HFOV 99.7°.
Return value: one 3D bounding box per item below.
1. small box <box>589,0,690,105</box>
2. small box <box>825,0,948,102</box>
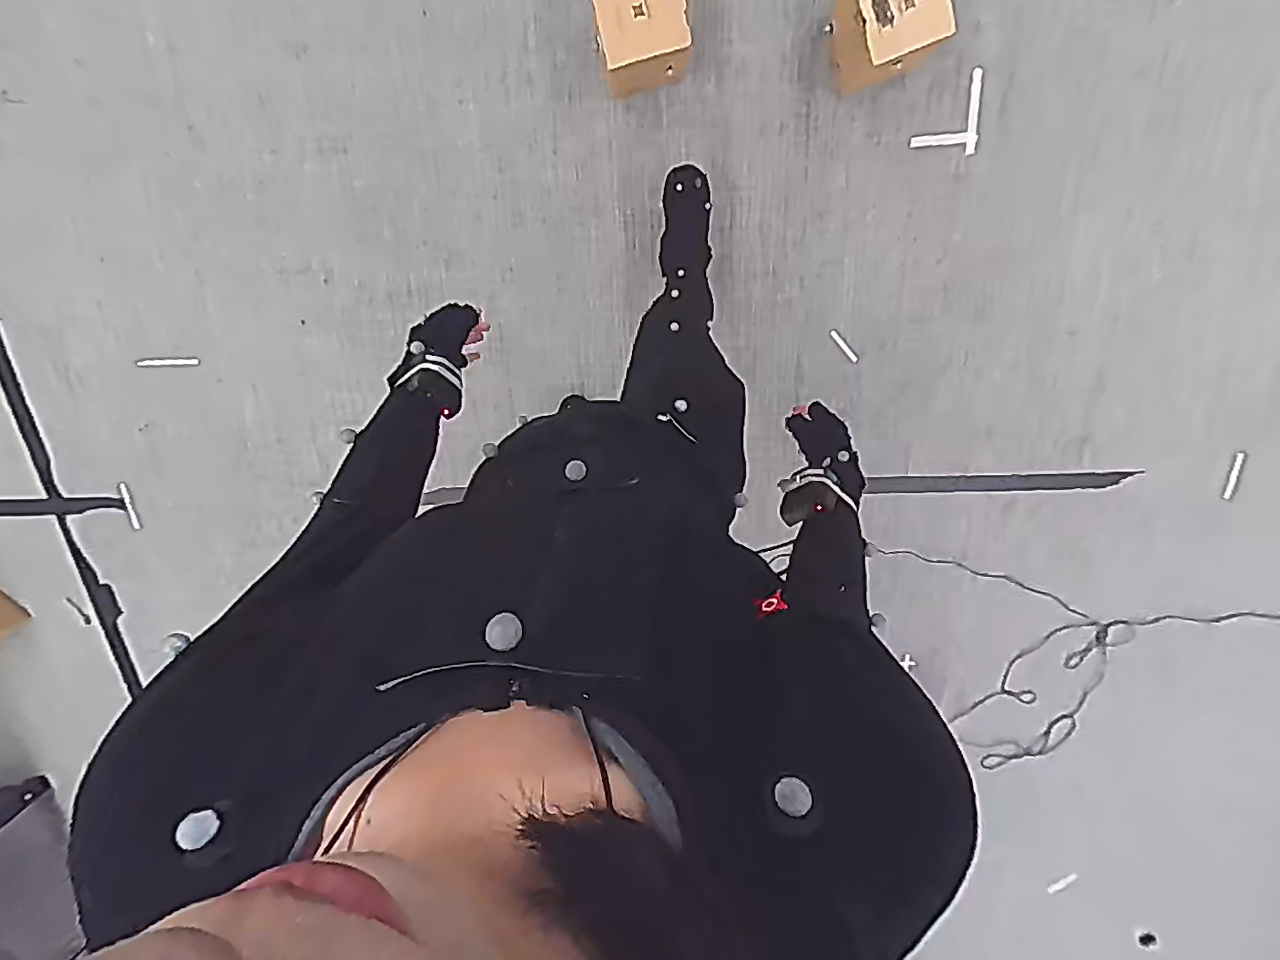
[{"bbox_3d":[-0.004,-0.934,1.144,0.179,0.176,0.168,-14,106,4],"label":"small box"},{"bbox_3d":[0.513,-0.948,1.153,0.179,0.176,0.168,-20,107,4],"label":"small box"}]
